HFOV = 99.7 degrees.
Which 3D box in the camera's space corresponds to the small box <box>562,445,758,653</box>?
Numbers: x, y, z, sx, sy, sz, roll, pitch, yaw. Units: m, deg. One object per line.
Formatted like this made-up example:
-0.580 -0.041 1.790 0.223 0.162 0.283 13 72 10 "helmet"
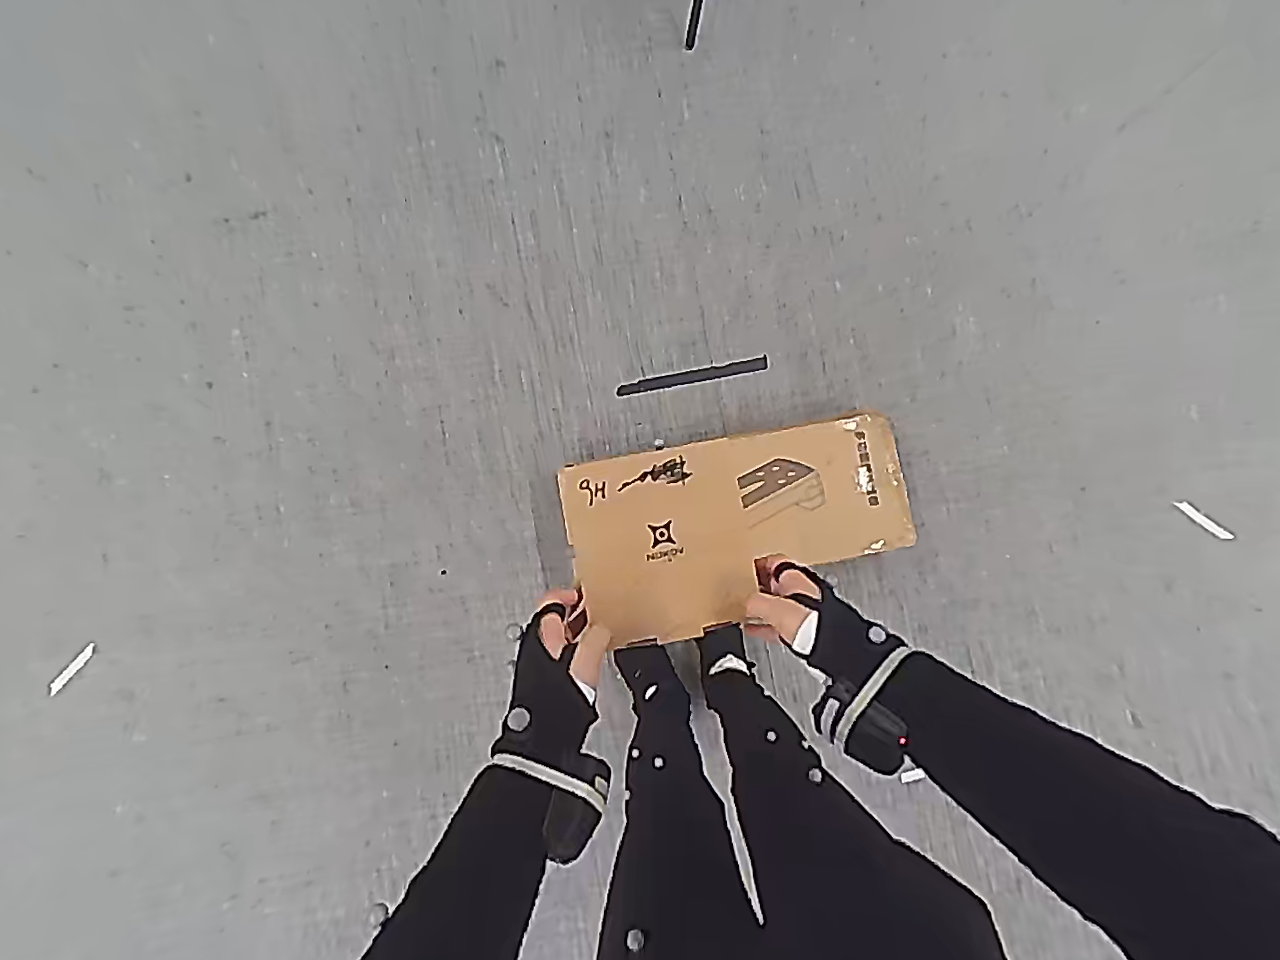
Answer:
0.014 0.066 0.593 0.168 0.176 0.179 -11 89 -5 "small box"
